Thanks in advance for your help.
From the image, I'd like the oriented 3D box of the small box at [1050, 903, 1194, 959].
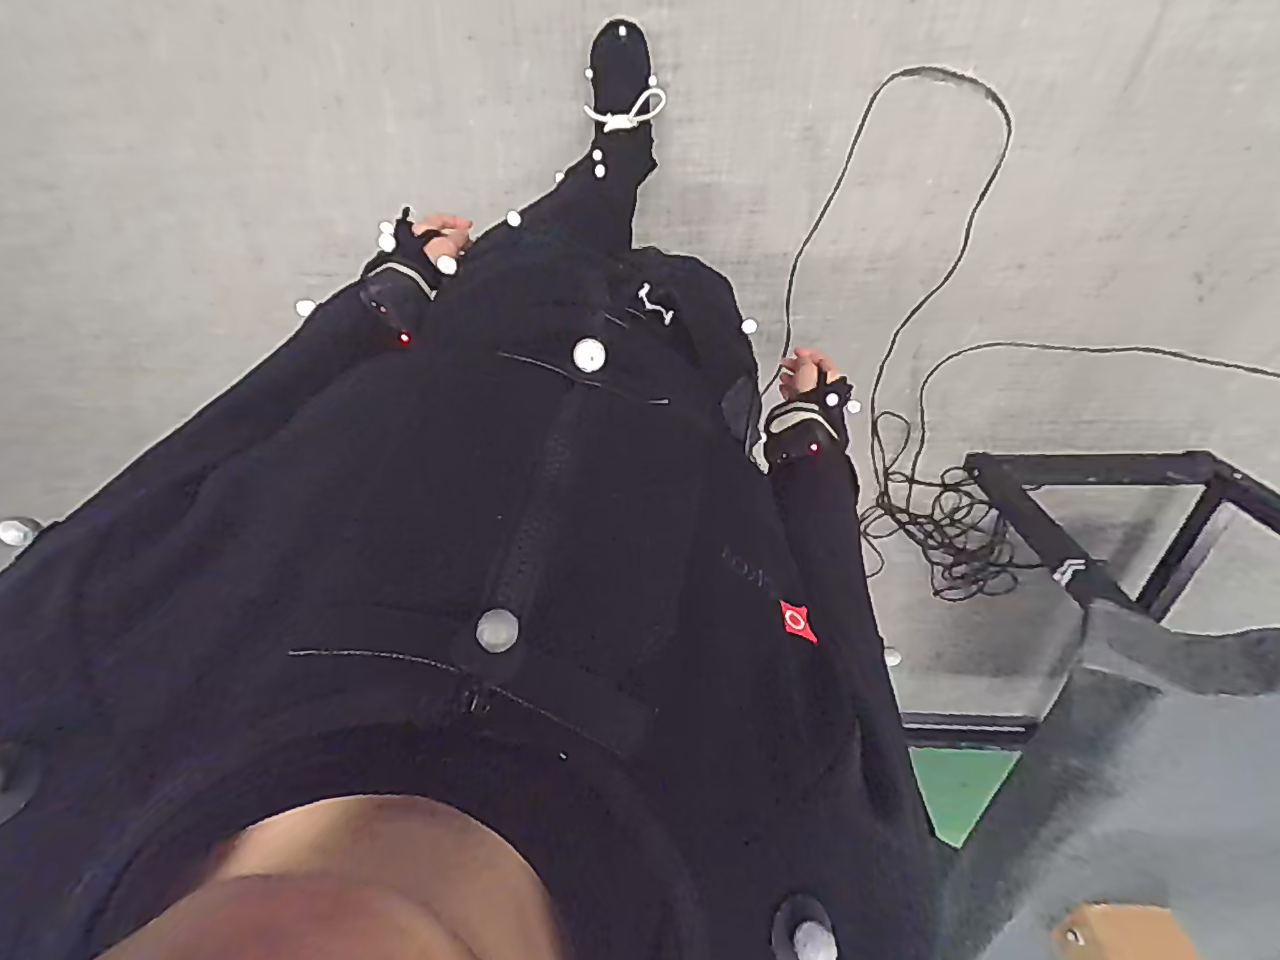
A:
[{"bbox_3d":[0.978,0.977,1.077,0.179,0.176,0.168,1,121,4],"label":"small box"}]
